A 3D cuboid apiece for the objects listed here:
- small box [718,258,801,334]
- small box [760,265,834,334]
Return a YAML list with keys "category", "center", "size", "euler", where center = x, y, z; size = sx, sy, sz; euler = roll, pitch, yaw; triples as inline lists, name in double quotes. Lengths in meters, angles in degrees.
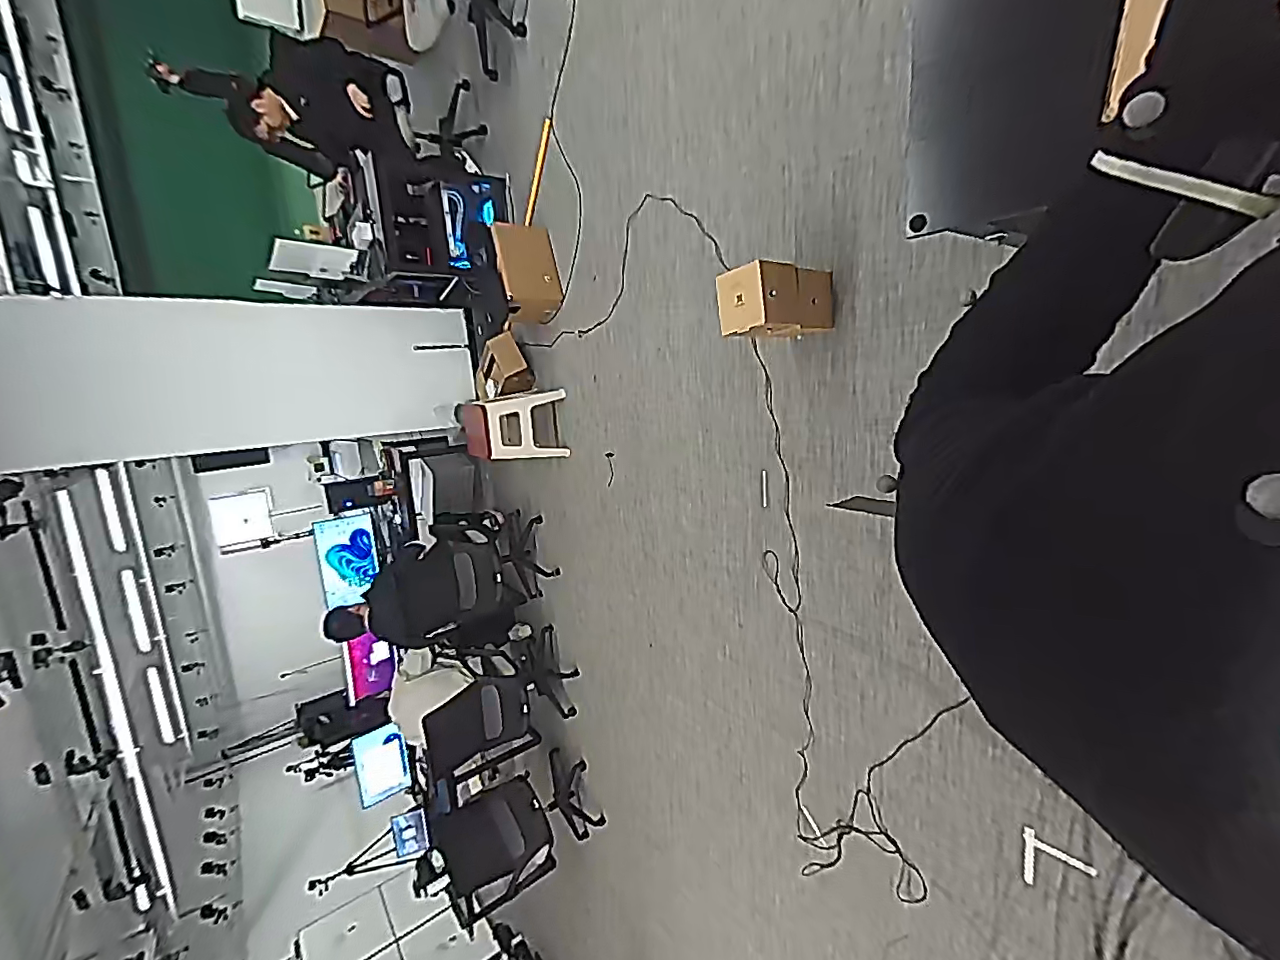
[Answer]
- category: "small box"
  center: [0.353, -0.531, 1.575]
  size: [0.168, 0.176, 0.179]
  euler: [0, 99, 53]
- category: "small box"
  center: [0.482, -0.551, 1.672]
  size: [0.168, 0.176, 0.179]
  euler: [5, 104, 53]
